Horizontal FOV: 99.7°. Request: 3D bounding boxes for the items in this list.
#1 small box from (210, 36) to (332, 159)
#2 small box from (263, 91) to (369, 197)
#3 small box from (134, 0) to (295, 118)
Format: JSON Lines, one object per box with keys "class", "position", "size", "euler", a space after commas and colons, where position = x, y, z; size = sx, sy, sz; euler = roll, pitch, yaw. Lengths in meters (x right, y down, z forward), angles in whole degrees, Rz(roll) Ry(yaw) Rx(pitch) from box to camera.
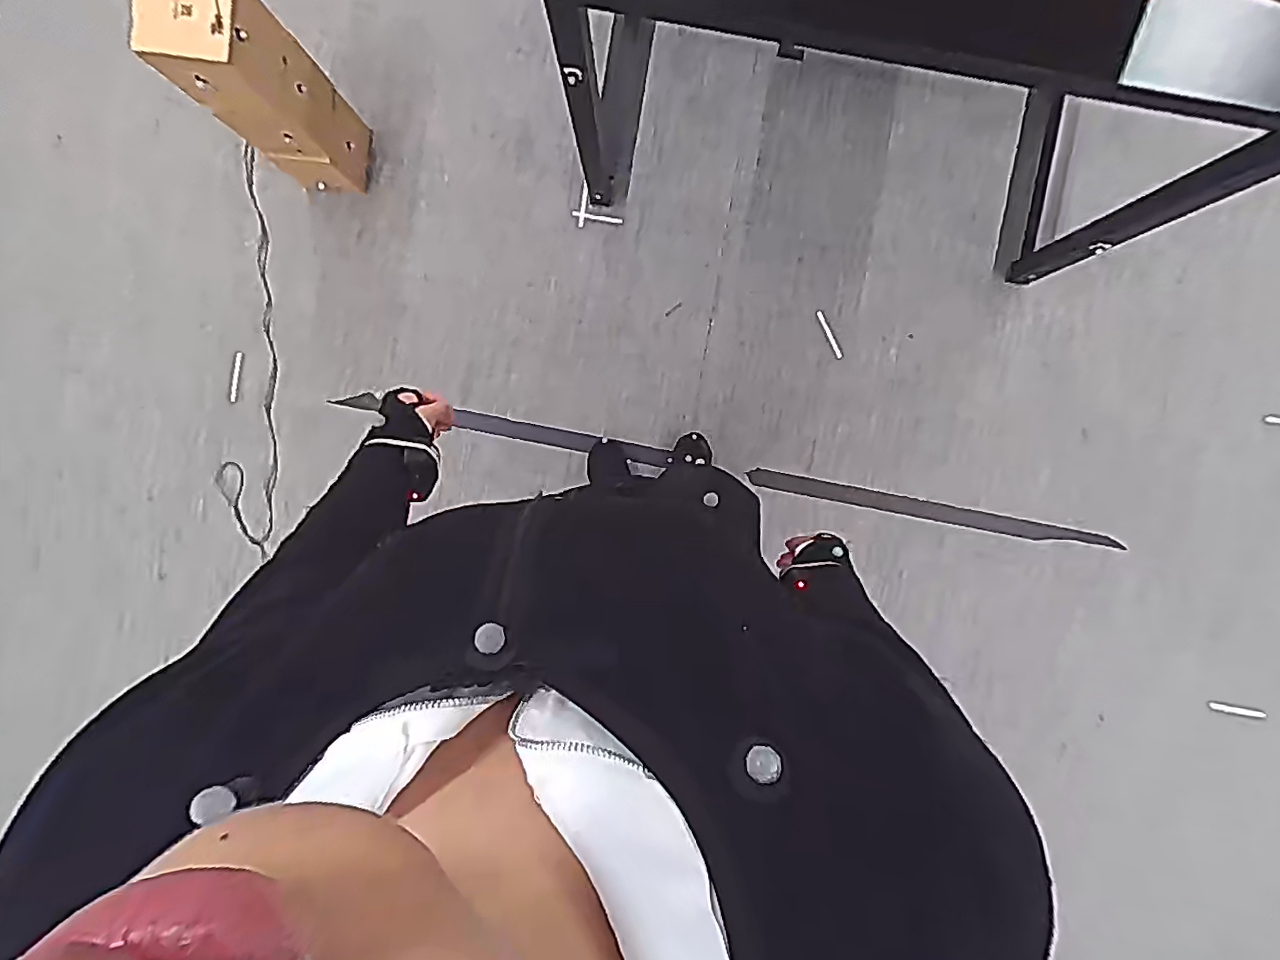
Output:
{"class": "small box", "position": [-0.817, -0.851, 1.210], "size": [0.168, 0.176, 0.179], "euler": [3, 92, -1]}
{"class": "small box", "position": [-0.813, -0.855, 1.373], "size": [0.168, 0.176, 0.179], "euler": [6, 94, 0]}
{"class": "small box", "position": [-0.814, -0.839, 1.047], "size": [0.179, 0.176, 0.168], "euler": [6, 93, 0]}
